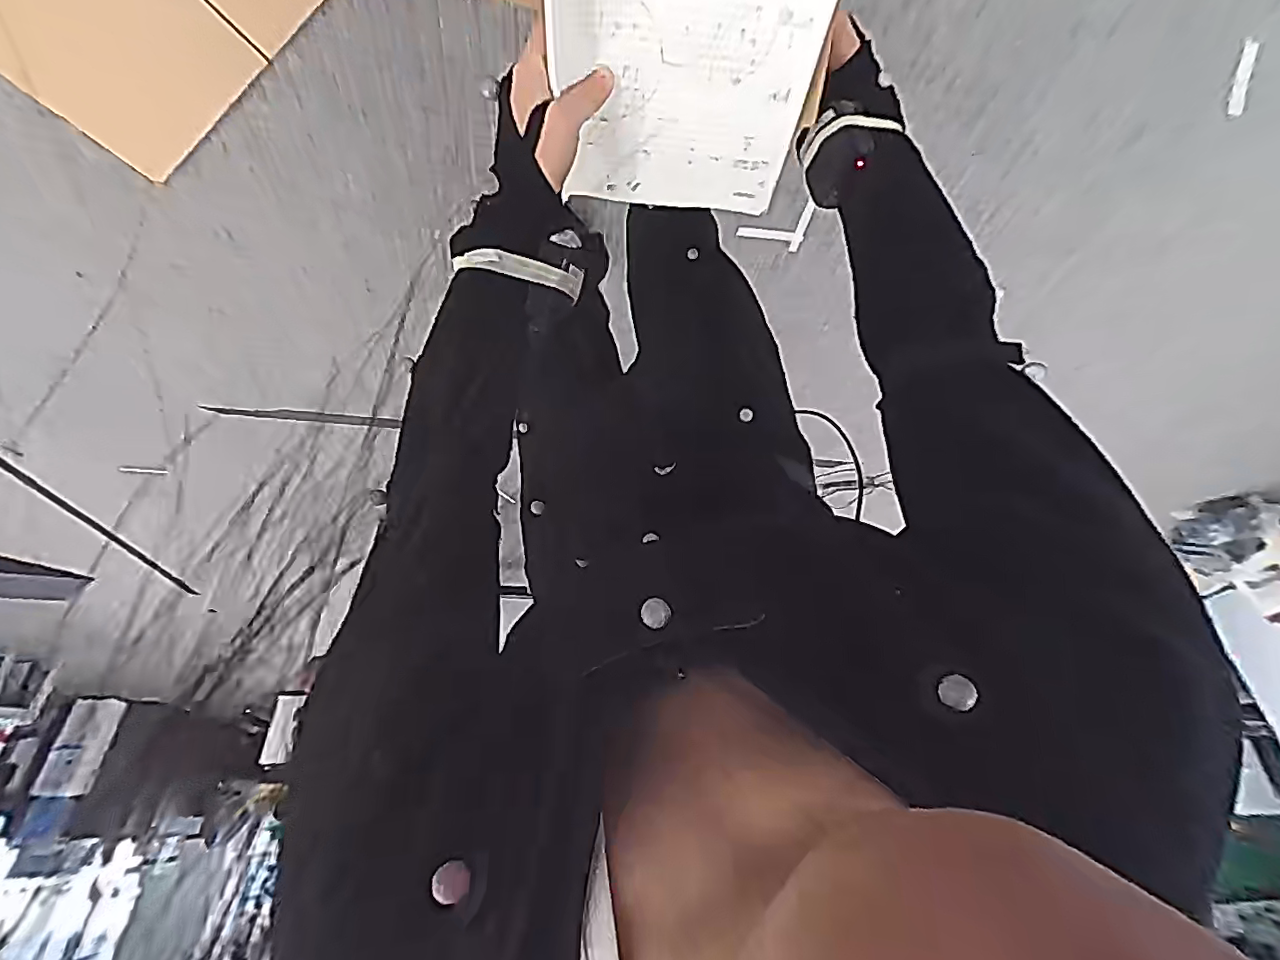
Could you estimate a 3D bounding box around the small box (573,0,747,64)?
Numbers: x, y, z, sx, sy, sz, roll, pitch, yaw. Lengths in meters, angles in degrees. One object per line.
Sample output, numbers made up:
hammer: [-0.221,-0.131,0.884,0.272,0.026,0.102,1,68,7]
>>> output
small box: [0.024,-0.544,0.514,0.168,0.176,0.179,2,148,-8]
